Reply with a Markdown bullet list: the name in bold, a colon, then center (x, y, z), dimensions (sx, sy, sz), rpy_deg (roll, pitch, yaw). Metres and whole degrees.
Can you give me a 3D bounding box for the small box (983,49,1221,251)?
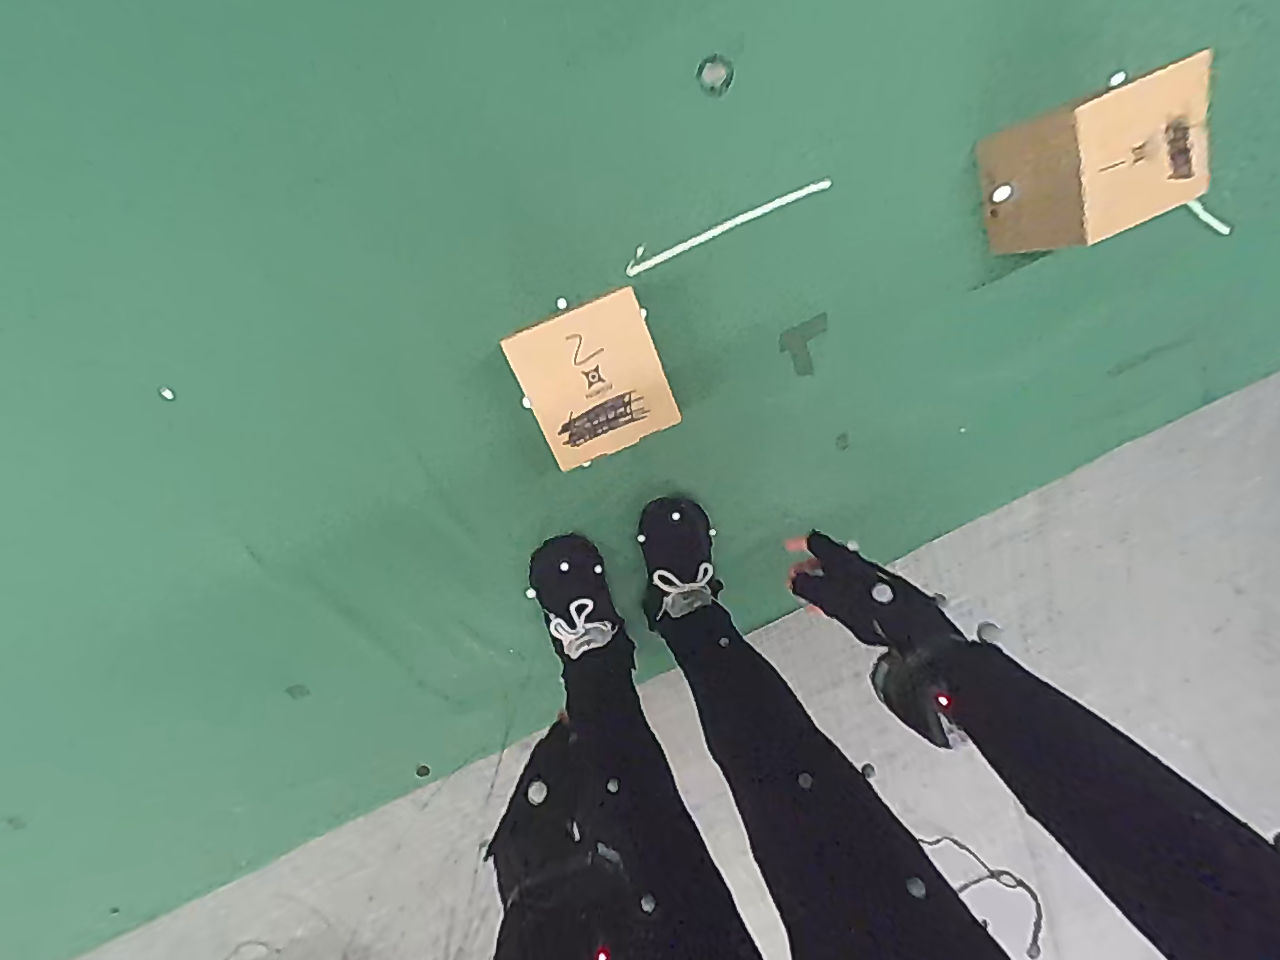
- **small box**: center (0.610, -0.425, 0.729), dimensions (0.179, 0.176, 0.168), rpy_deg (-24, 111, -1)
